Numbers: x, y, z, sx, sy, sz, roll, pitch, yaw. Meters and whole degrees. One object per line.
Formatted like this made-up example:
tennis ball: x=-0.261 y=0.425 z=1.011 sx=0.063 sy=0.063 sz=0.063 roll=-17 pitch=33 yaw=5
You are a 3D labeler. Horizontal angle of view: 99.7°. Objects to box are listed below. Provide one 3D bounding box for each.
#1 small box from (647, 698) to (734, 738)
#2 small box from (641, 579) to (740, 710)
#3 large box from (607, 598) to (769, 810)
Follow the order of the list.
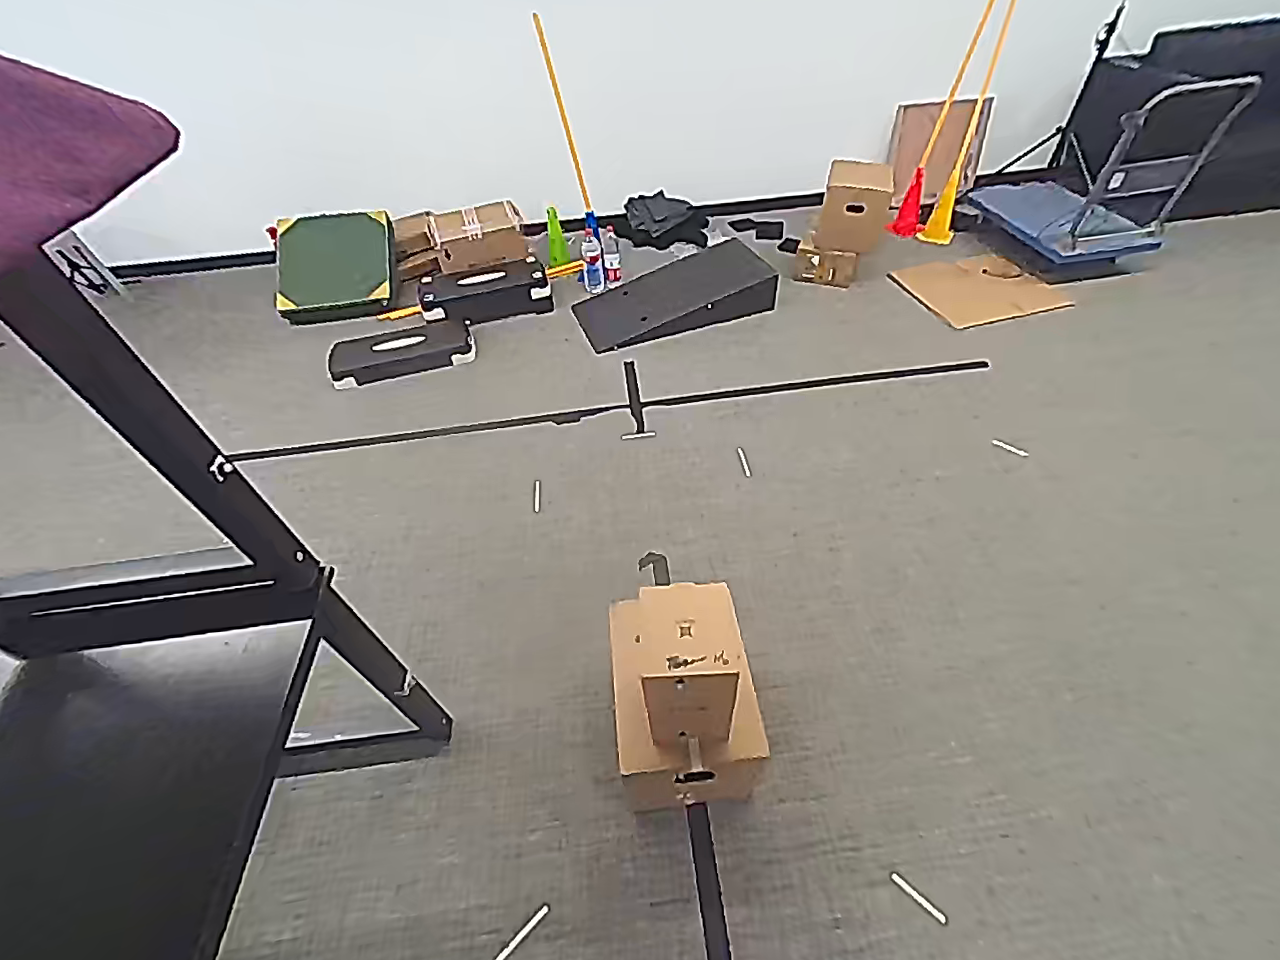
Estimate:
small box: x=0.097 y=0.413 z=1.120 sx=0.168 sy=0.176 sz=0.179 roll=-4 pitch=47 yaw=2
small box: x=0.088 y=0.304 z=0.998 sx=0.168 sy=0.176 sz=0.179 roll=-4 pitch=46 yaw=3
large box: x=0.100 y=0.536 z=1.340 sx=0.320 sy=0.320 sz=0.408 roll=-6 pitch=46 yaw=-3
